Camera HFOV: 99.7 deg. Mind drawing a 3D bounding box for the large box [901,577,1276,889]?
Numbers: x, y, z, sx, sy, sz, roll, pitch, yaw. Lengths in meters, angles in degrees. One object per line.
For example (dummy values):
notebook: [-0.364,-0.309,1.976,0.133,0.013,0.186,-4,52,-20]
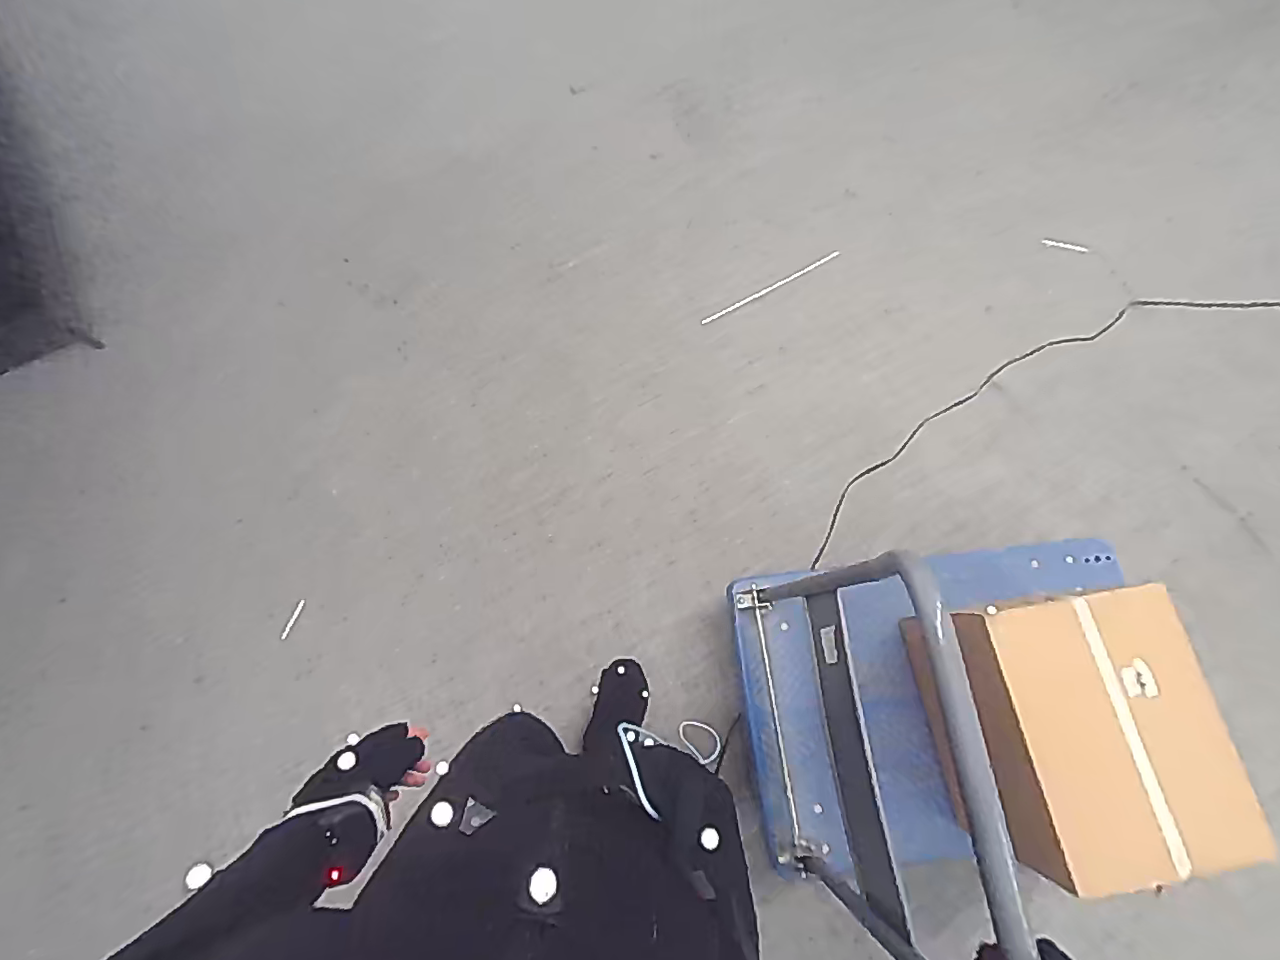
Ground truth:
large box: [0.740,0.416,0.974,0.320,0.320,0.408,-10,74,-3]
